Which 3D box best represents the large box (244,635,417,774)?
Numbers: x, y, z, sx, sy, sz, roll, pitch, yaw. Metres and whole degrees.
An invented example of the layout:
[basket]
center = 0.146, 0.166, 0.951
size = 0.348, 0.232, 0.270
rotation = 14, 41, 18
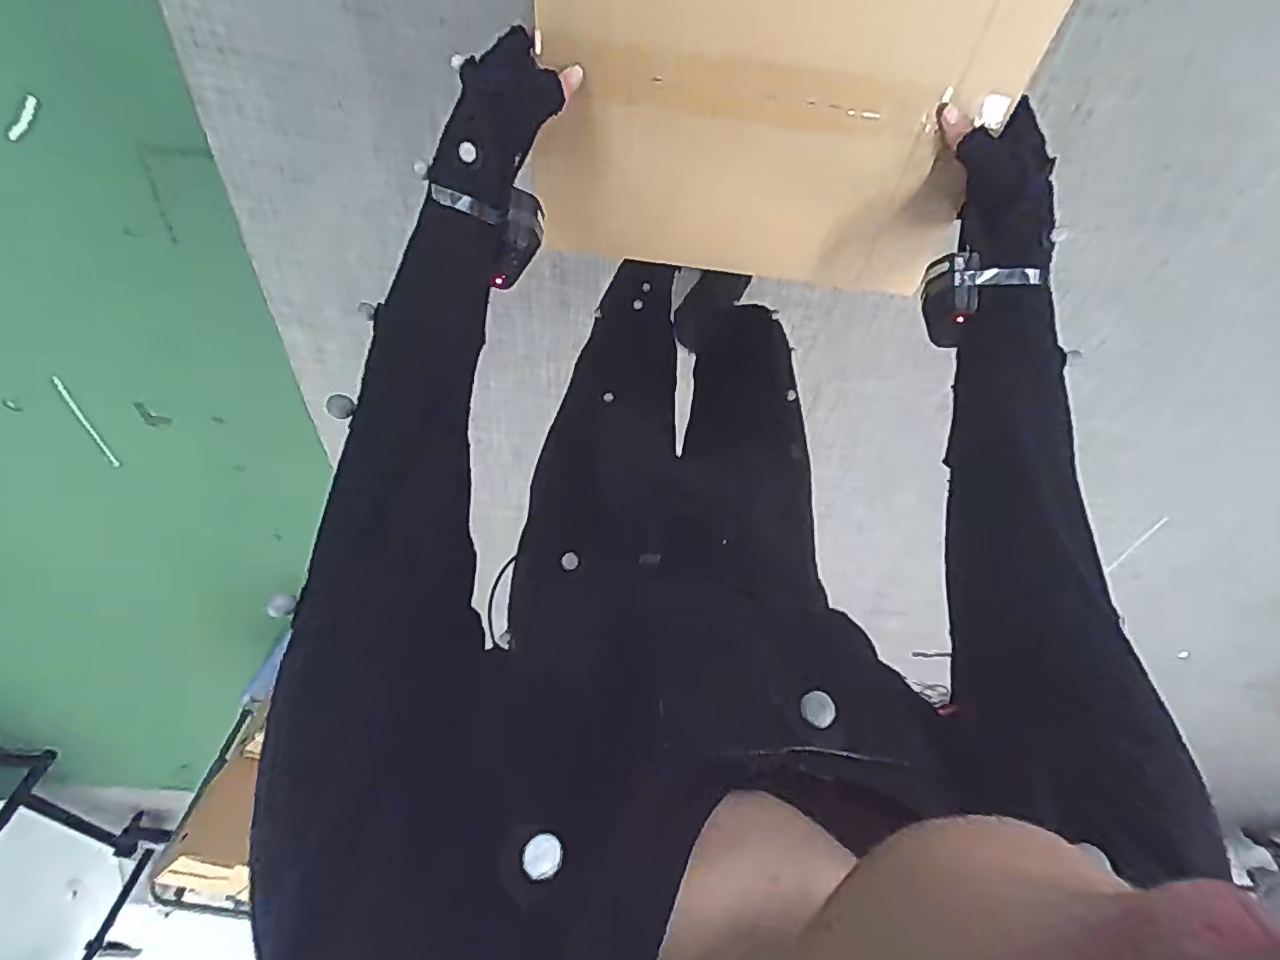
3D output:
[large box]
center = -1.104, 0.816, 1.957
size = 0.408, 0.320, 0.320
rotation = 34, 126, -27
